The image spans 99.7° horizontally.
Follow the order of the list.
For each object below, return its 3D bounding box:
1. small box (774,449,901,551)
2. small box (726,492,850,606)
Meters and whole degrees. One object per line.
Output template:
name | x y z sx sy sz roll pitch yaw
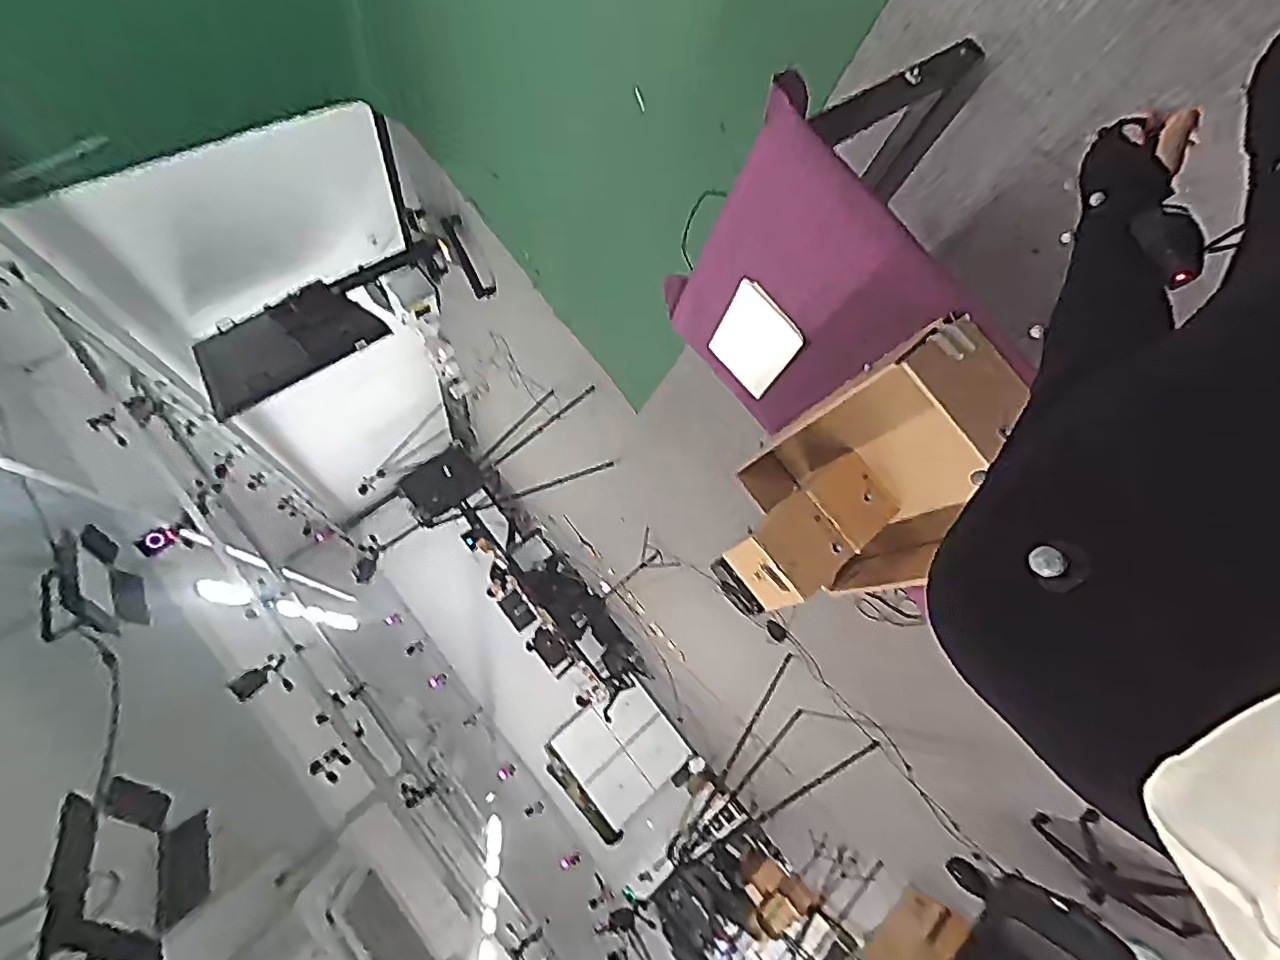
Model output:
small box | 0.450 0.059 1.235 0.168 0.176 0.179 52 156 6
small box | 0.326 0.151 1.179 0.168 0.176 0.179 51 158 7
